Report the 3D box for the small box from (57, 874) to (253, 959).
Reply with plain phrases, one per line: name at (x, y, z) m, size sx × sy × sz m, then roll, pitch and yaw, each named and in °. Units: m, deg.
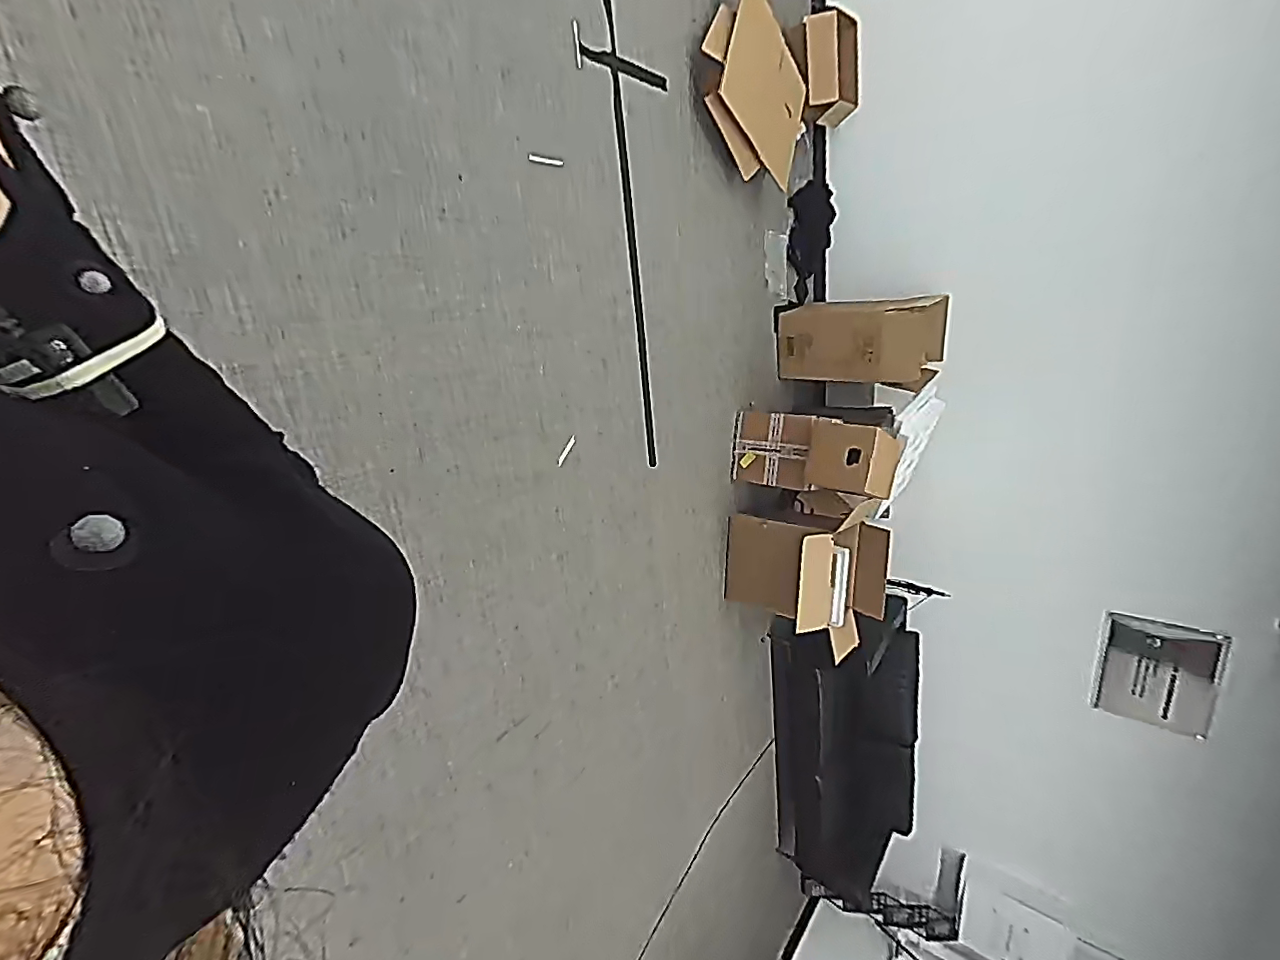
small box at (-0.495, 0.566, 0.555) m, size 0.168 × 0.176 × 0.179 m, roll -27°, pitch 116°, yaw -46°
